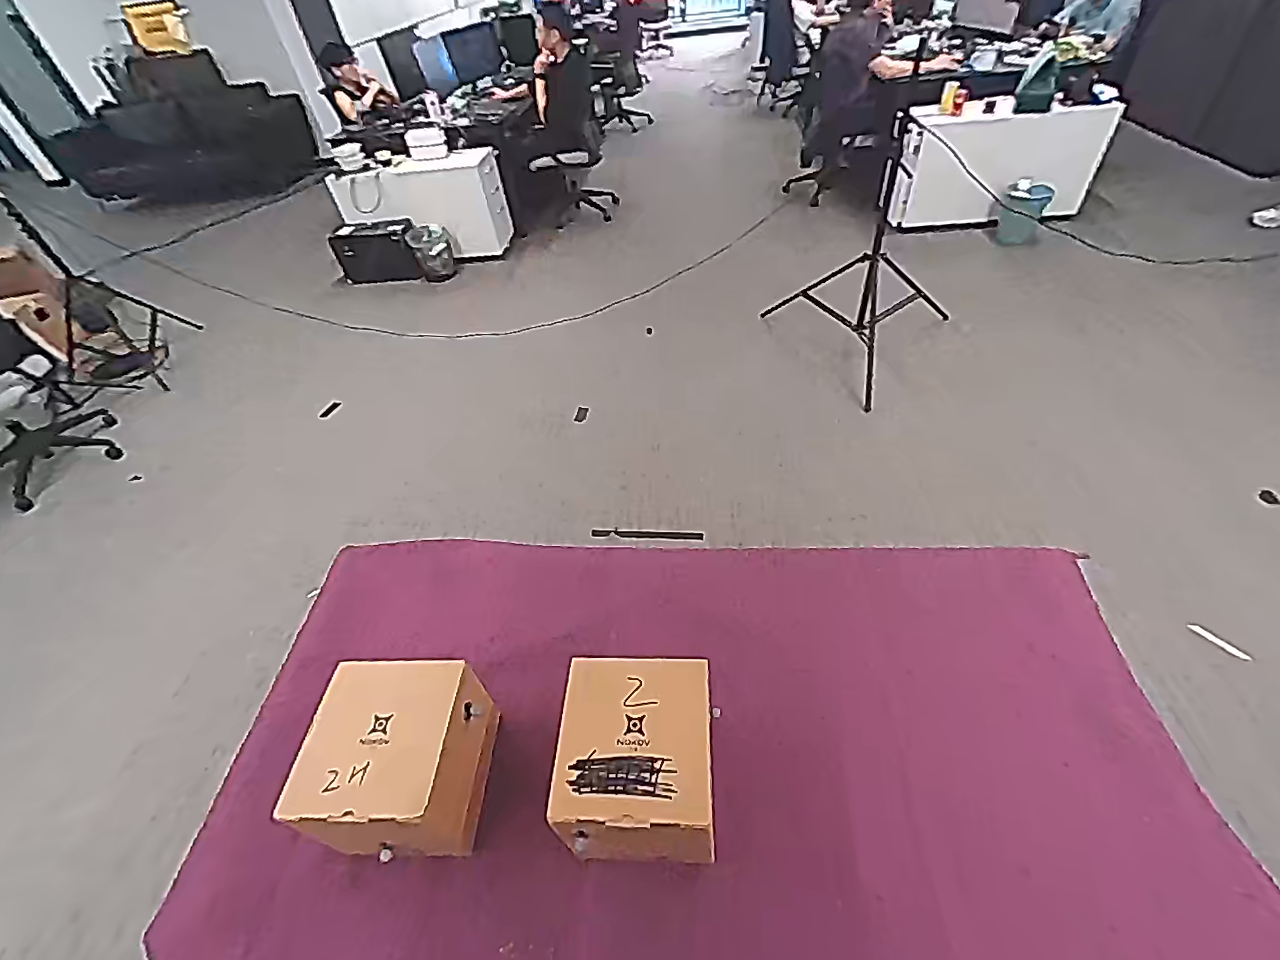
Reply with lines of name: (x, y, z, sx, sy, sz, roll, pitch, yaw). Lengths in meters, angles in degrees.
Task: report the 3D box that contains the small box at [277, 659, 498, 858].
small box: (-0.286, 0.340, 0.664, 0.168, 0.176, 0.179, -3, 45, 4)
